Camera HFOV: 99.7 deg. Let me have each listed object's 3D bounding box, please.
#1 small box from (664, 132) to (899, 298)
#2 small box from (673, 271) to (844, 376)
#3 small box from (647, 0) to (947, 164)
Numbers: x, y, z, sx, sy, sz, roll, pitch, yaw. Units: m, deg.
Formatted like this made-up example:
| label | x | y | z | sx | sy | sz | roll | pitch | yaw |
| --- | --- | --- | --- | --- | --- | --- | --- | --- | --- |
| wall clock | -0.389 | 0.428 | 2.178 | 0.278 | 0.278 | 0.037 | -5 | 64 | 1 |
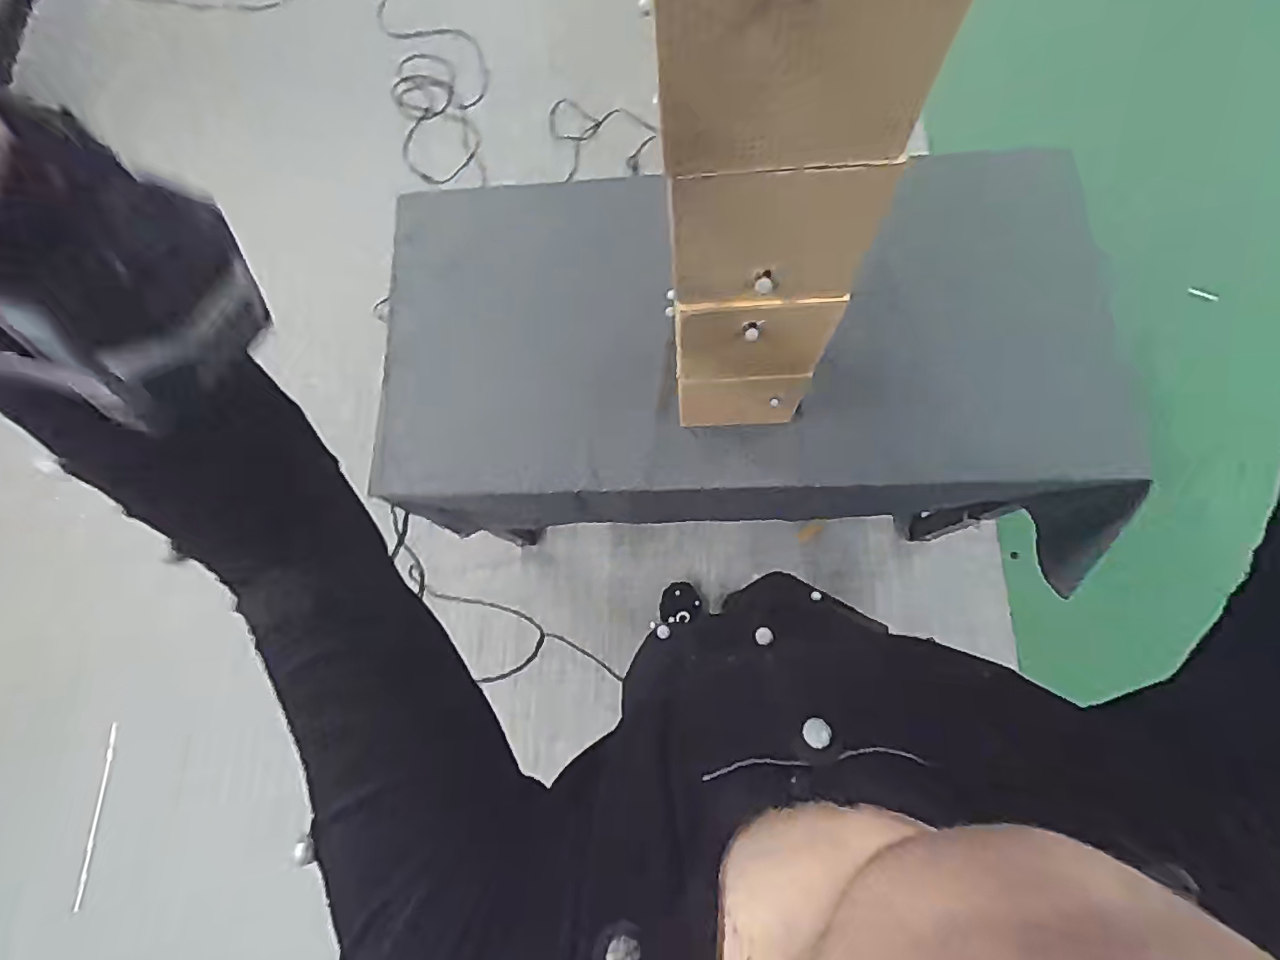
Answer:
| label | x | y | z | sx | sy | sz | roll | pitch | yaw |
| --- | --- | --- | --- | --- | --- | --- | --- | --- | --- |
| small box | 0.112 | -0.286 | 0.500 | 0.179 | 0.176 | 0.168 | 0 | 74 | 5 |
| small box | 0.128 | -0.237 | 0.655 | 0.179 | 0.176 | 0.168 | -3 | 75 | 5 |
| small box | 0.092 | -0.333 | 0.343 | 0.179 | 0.176 | 0.168 | -2 | 75 | 4 |
